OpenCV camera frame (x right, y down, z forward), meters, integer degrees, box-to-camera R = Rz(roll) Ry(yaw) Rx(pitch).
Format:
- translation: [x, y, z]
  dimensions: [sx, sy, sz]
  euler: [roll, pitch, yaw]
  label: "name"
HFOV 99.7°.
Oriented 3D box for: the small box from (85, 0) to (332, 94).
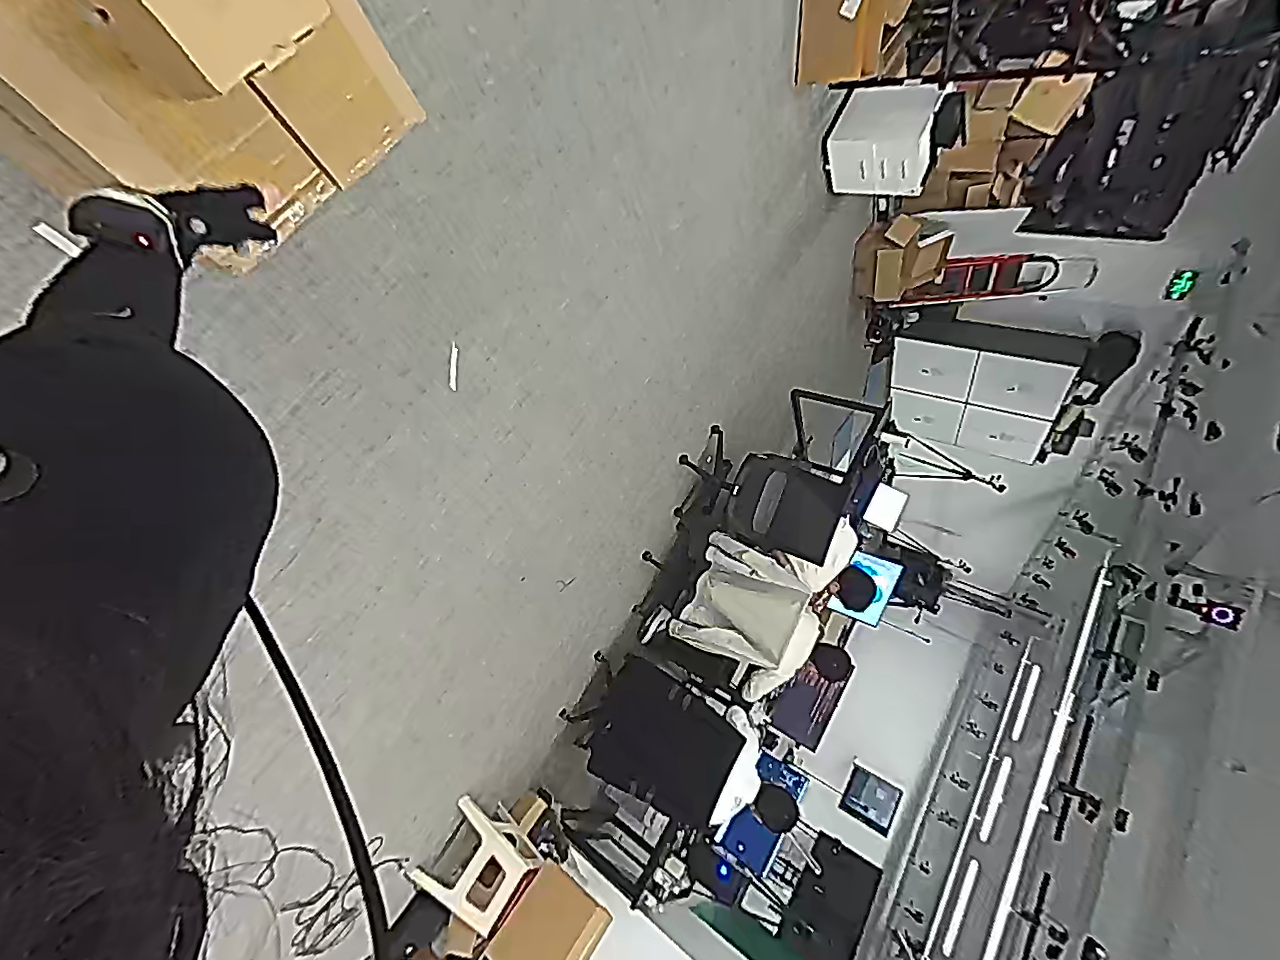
- translation: [-0.477, -0.536, 0.559]
  dimensions: [0.168, 0.176, 0.179]
  euler: [-55, 146, -18]
  label: "small box"
